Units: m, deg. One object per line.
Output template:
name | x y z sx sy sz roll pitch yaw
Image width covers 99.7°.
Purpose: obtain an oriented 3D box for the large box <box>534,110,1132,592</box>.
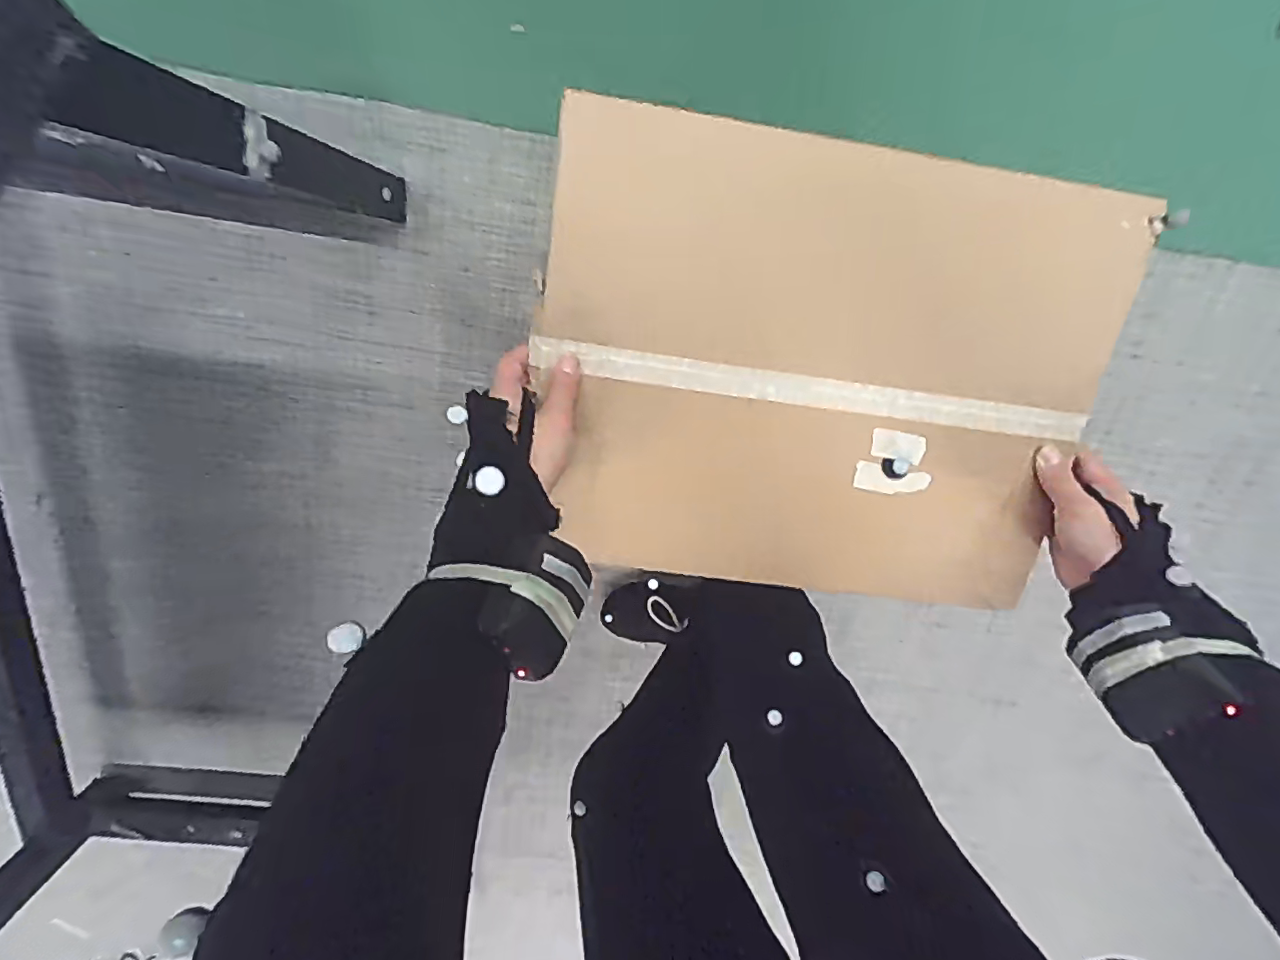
large box | 0.121 -0.110 0.541 0.408 0.320 0.320 7 106 -5
